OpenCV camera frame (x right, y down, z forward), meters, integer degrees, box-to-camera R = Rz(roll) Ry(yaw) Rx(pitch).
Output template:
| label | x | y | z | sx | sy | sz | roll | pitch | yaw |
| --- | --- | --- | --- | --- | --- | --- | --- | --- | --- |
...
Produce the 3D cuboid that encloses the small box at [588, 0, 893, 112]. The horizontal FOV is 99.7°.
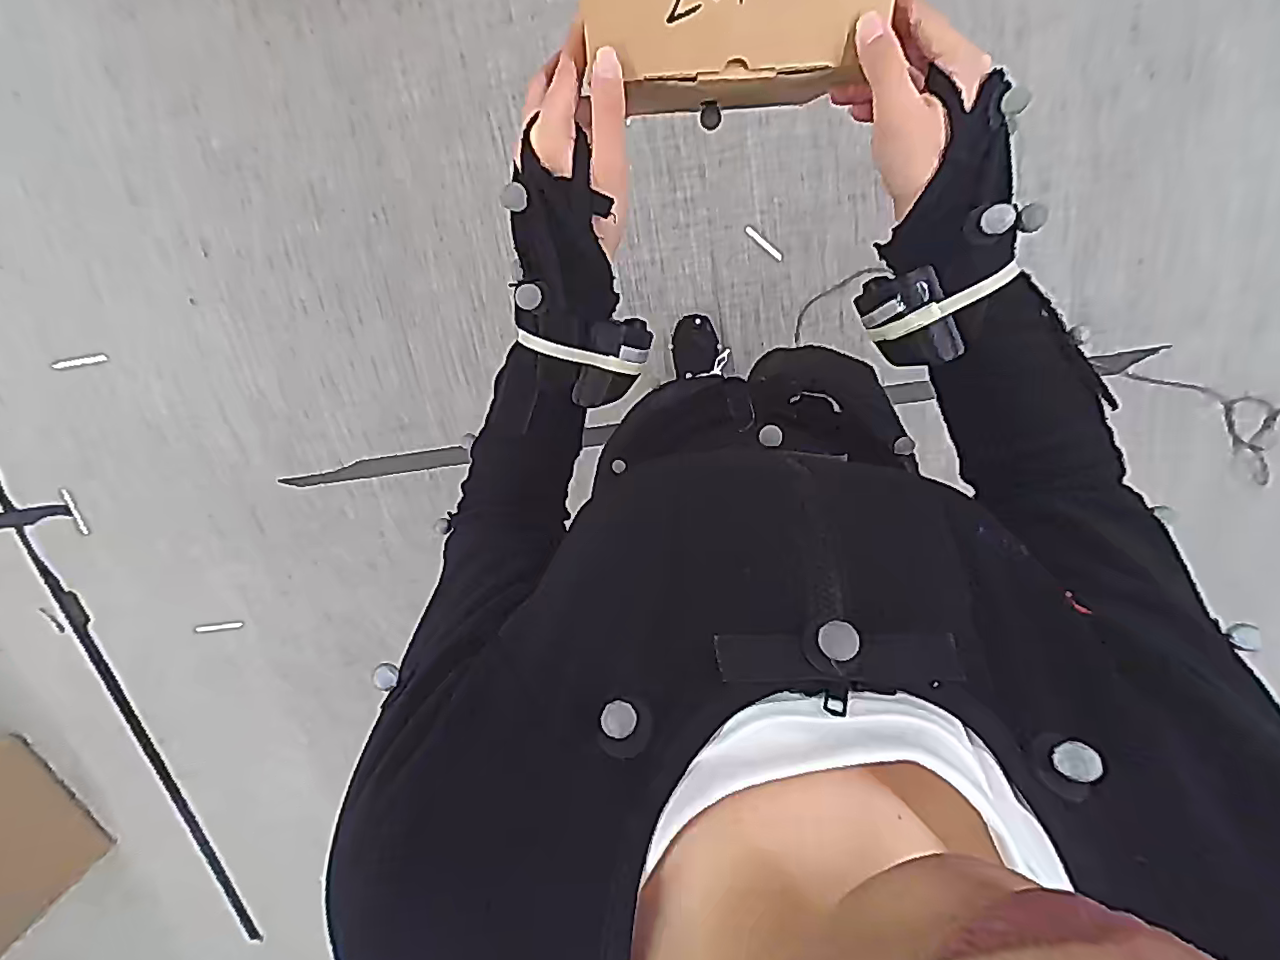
| label | x | y | z | sx | sy | sz | roll | pitch | yaw |
| --- | --- | --- | --- | --- | --- | --- | --- | --- | --- |
| small box | 0.050 | -0.344 | 0.331 | 0.168 | 0.176 | 0.179 | -3 | 119 | 1 |
